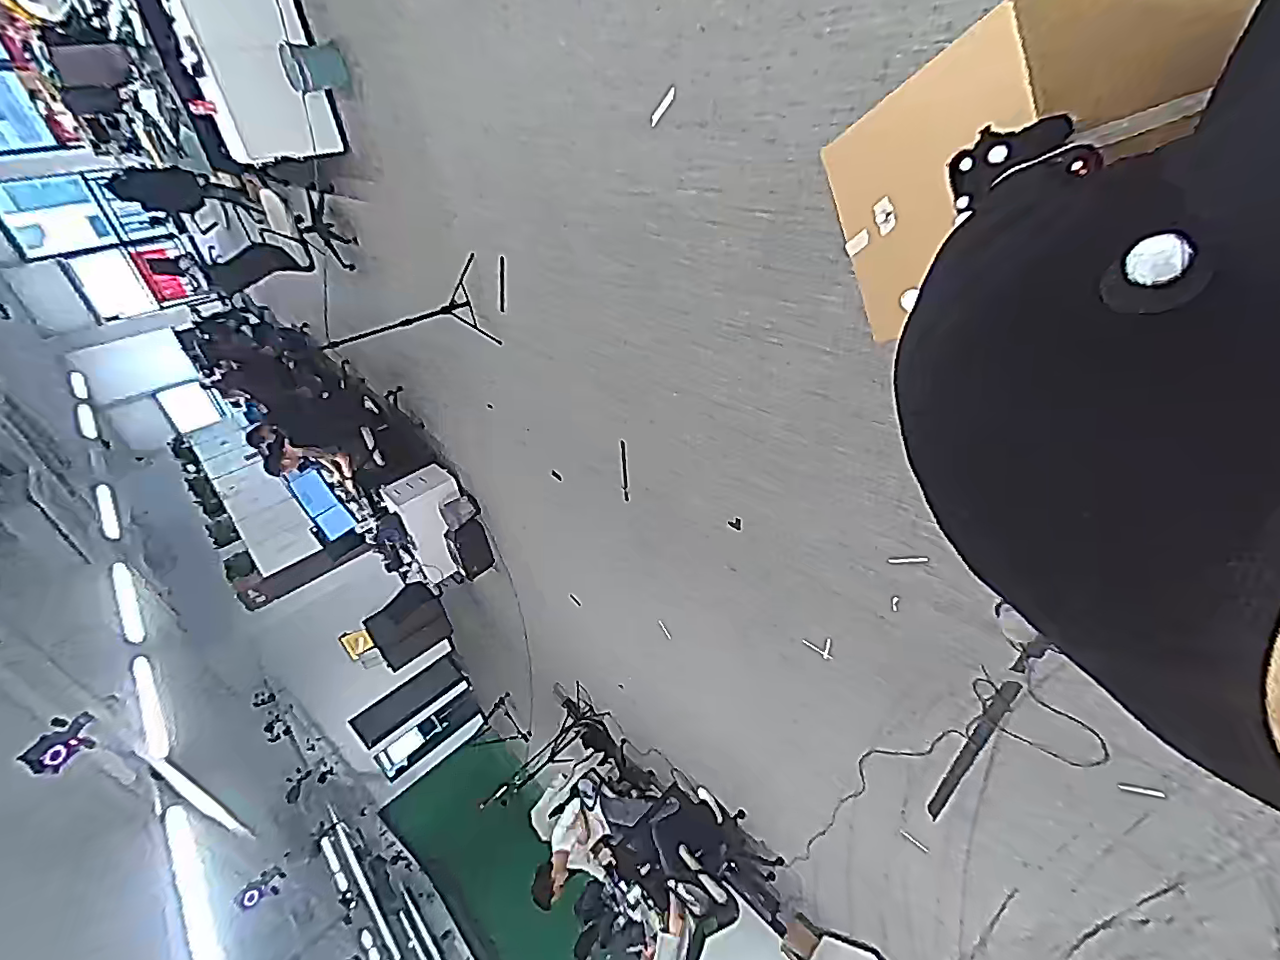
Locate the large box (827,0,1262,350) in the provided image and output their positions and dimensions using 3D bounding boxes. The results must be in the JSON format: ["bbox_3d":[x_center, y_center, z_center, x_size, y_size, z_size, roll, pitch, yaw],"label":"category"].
[{"bbox_3d":[0.557,-0.420,0.779,0.320,0.408,0.320,69,163,-12],"label":"large box"}]
